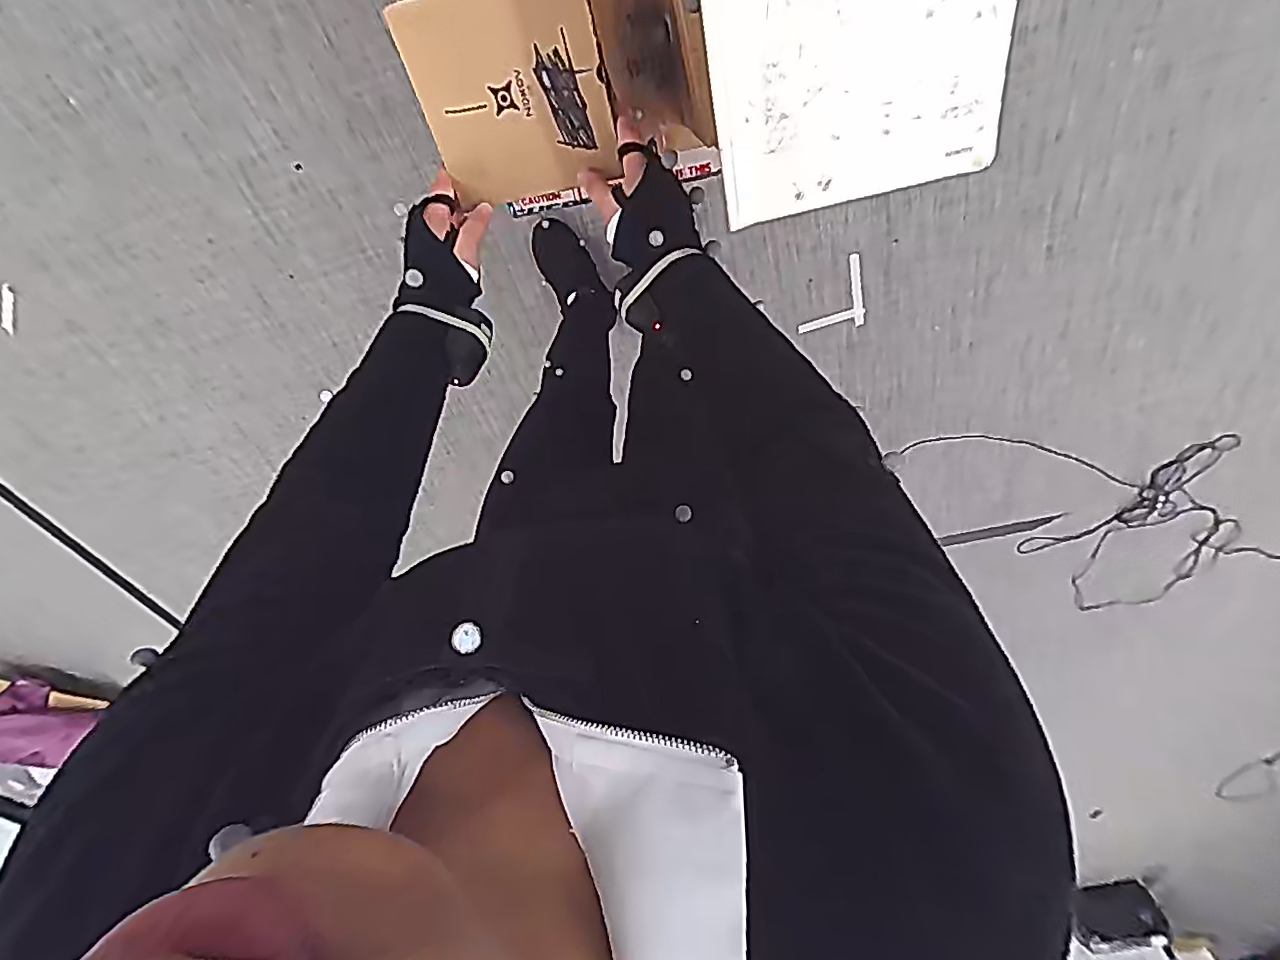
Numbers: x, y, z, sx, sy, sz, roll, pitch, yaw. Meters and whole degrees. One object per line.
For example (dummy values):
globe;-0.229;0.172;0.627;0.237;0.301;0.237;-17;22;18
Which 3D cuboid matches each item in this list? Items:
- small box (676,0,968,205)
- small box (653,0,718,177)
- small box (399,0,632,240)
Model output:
small box;0.127;-0.344;0.420;0.168;0.176;0.179;-14;129;6
small box;0.121;-0.439;0.551;0.179;0.176;0.168;-15;128;8
small box;-0.108;-0.378;0.565;0.179;0.176;0.168;-7;132;11
